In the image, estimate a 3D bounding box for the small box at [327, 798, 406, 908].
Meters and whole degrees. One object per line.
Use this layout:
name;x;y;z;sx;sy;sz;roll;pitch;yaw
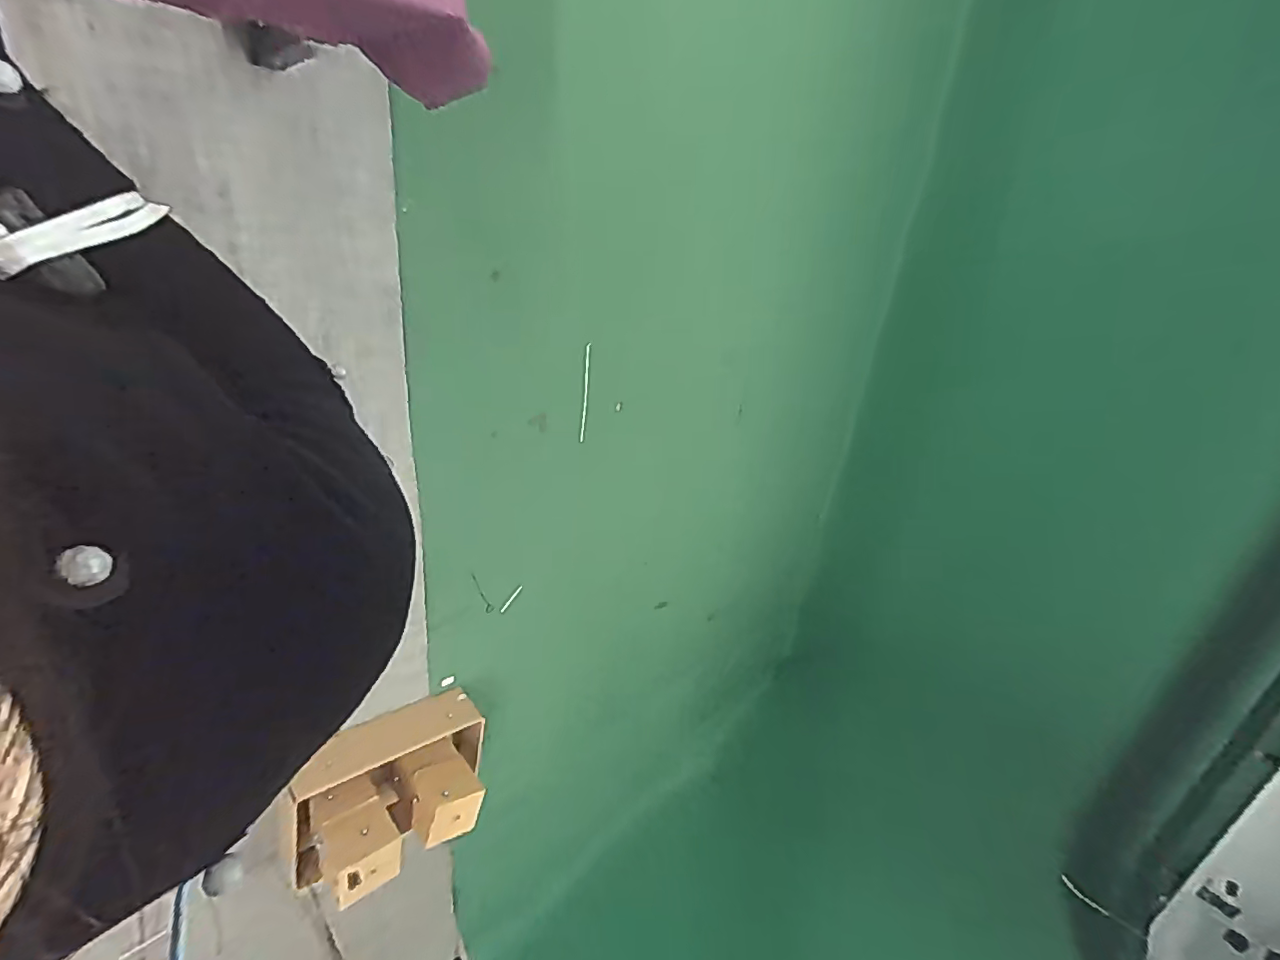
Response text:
small box;-0.832;1.120;1.637;0.179;0.176;0.168;-9;117;-46

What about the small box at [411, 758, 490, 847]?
small box;-0.640;1.074;1.822;0.179;0.176;0.168;8;105;-46
